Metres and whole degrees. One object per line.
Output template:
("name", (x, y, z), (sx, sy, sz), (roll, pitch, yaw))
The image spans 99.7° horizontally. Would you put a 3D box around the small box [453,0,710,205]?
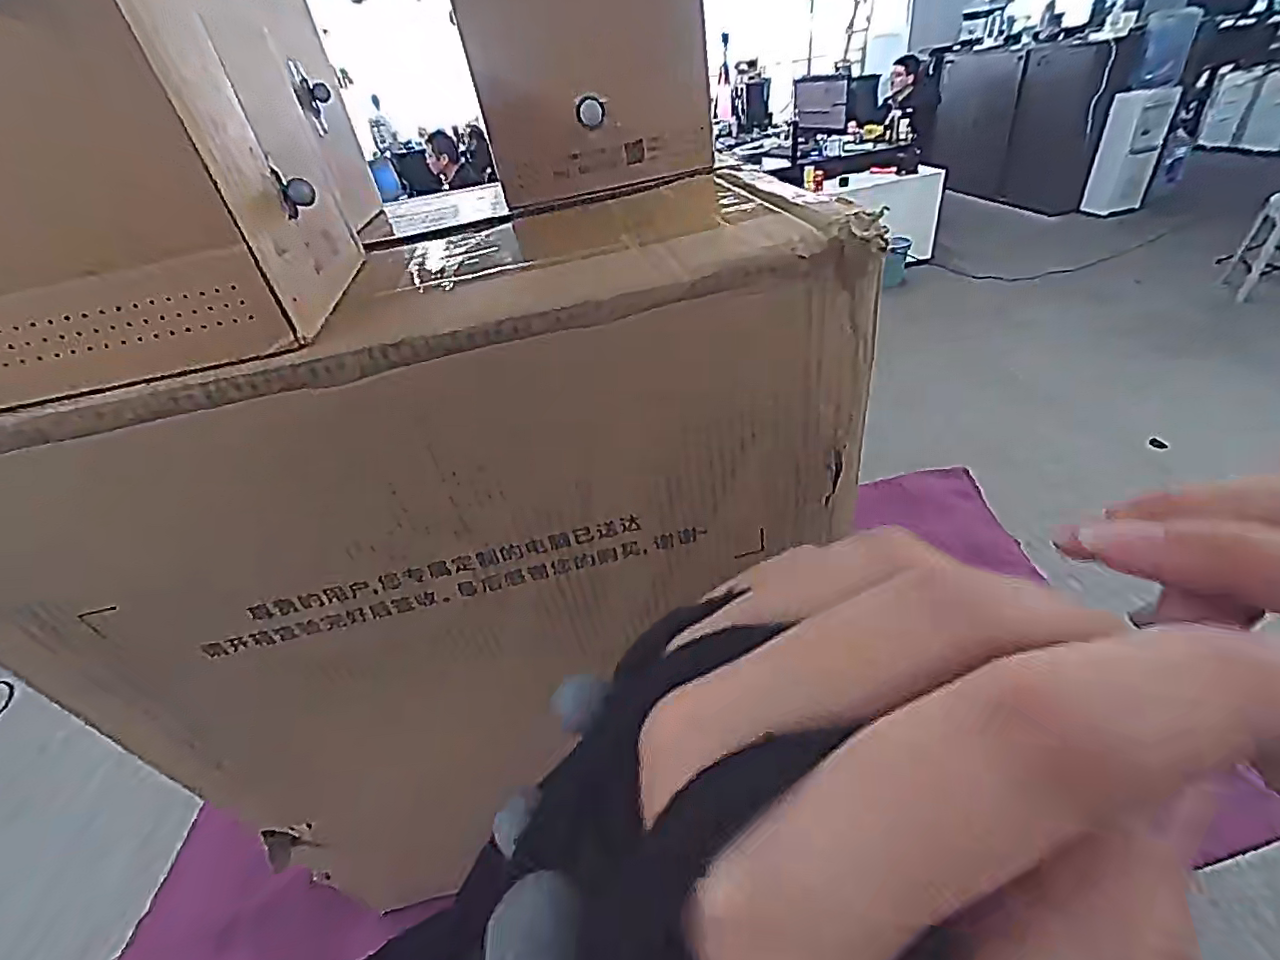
("small box", (-0.046, -0.335, 0.437), (0.168, 0.176, 0.179), (-12, 37, 0))
